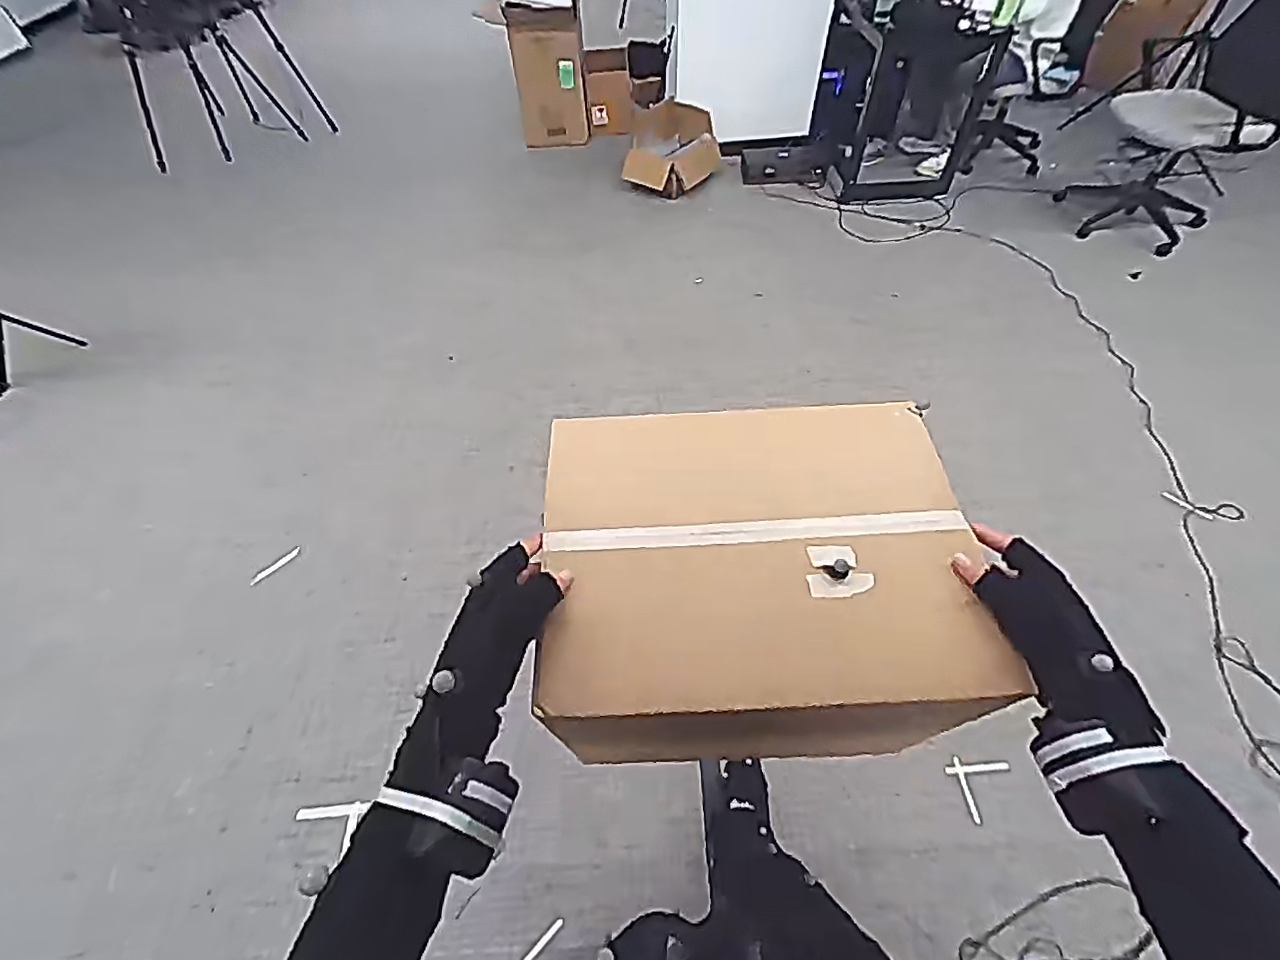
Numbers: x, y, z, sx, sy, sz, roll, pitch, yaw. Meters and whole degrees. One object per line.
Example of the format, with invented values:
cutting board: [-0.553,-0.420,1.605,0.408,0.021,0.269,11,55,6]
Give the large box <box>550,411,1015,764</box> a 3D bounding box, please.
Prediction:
large box: [0.115,0.142,0.658,0.408,0.320,0.320,-3,56,0]
